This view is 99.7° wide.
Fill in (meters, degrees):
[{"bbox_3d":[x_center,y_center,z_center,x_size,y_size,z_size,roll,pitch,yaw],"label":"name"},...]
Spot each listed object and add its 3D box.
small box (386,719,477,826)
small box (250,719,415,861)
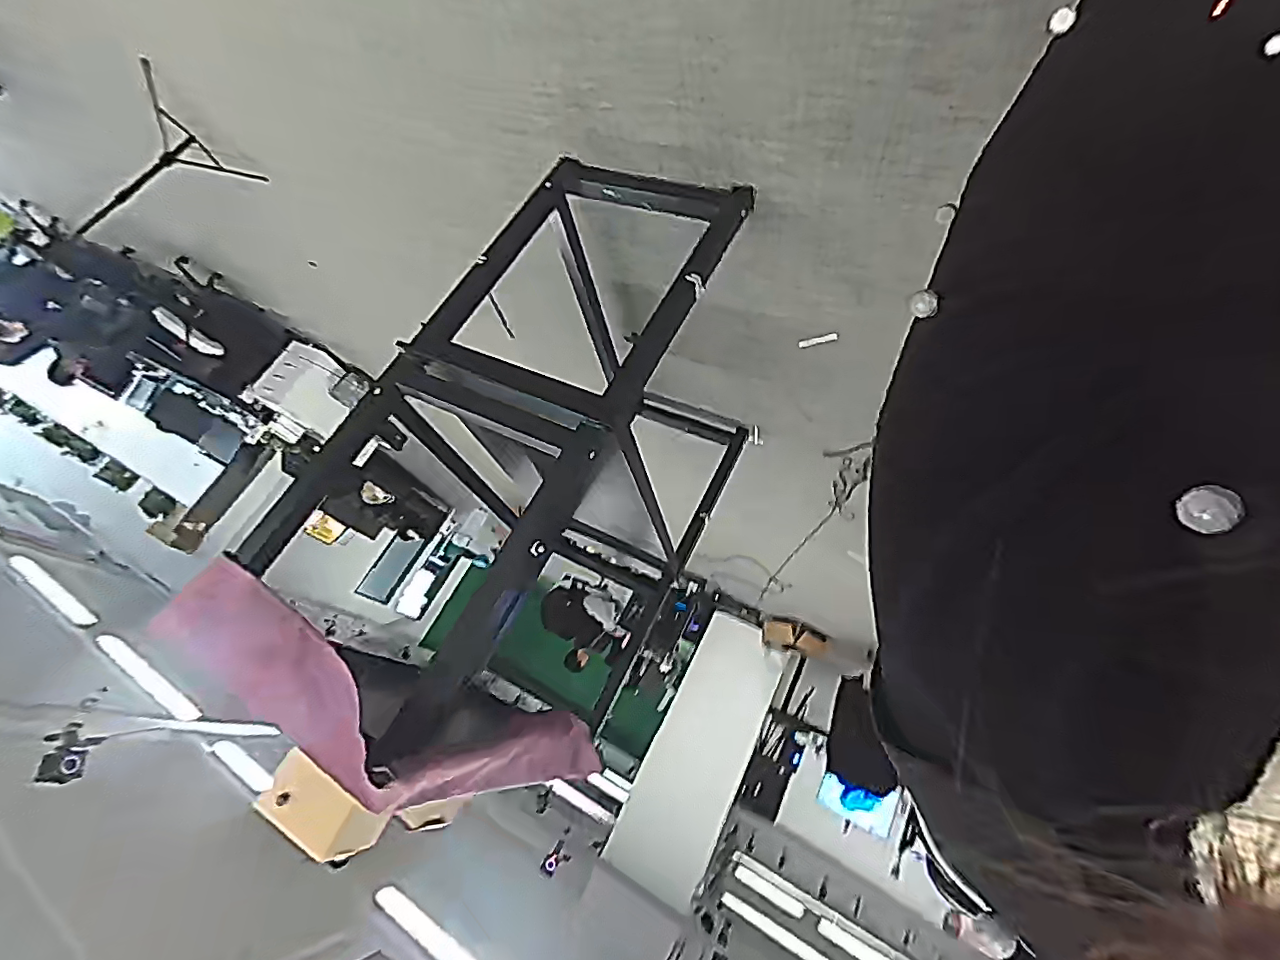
[{"bbox_3d":[-0.533,0.717,1.338,0.179,0.176,0.168,21,160,26],"label":"small box"},{"bbox_3d":[-0.578,0.579,1.039,0.179,0.176,0.168,24,161,17],"label":"small box"}]
